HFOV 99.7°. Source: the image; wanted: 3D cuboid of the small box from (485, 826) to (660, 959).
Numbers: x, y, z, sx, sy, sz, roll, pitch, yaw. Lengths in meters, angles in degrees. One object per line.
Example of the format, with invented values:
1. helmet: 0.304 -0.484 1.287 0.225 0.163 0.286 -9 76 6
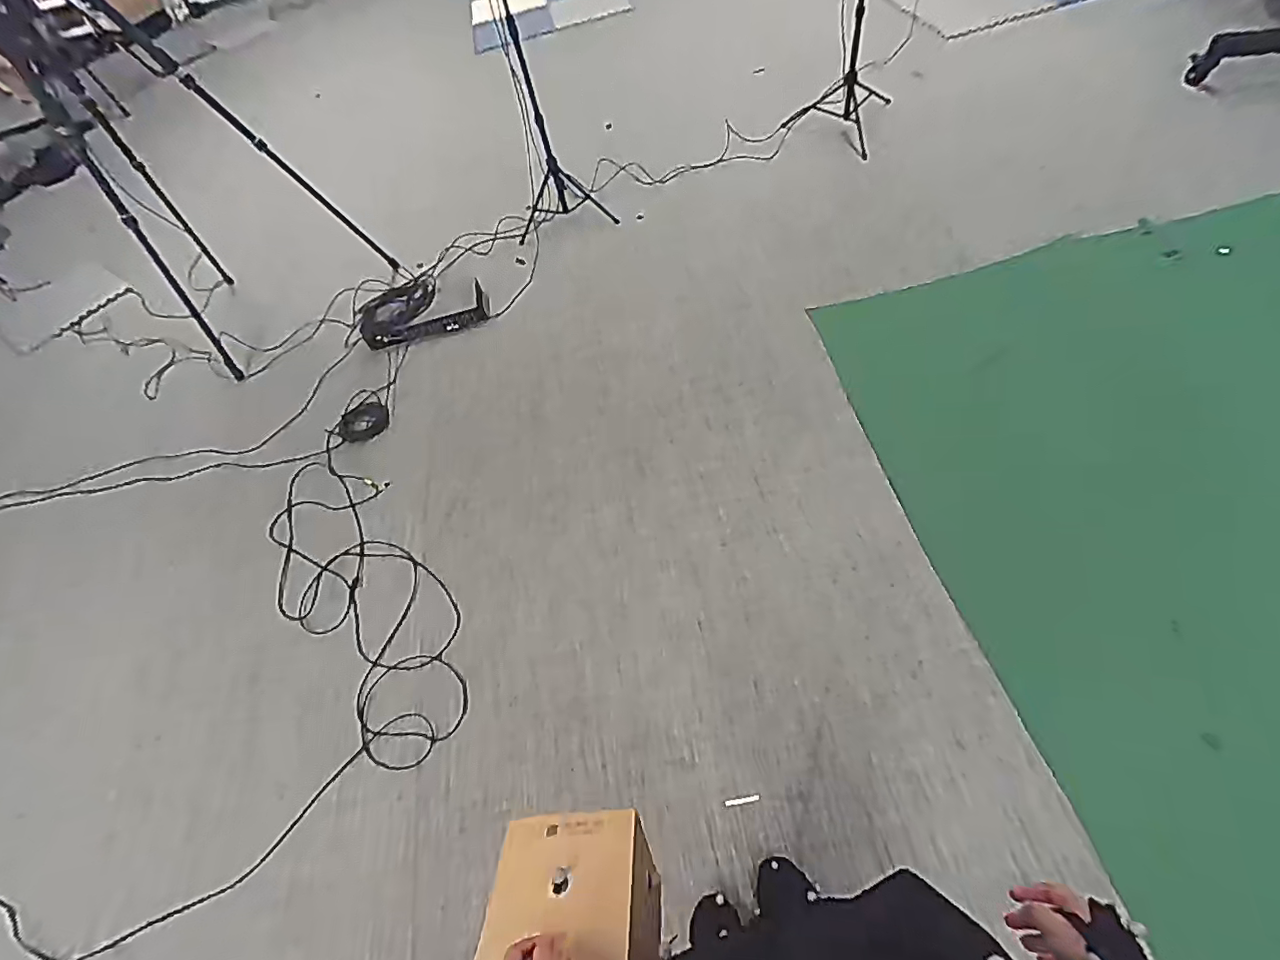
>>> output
1. small box: -0.071 0.537 0.634 0.168 0.179 0.176 -10 24 7
